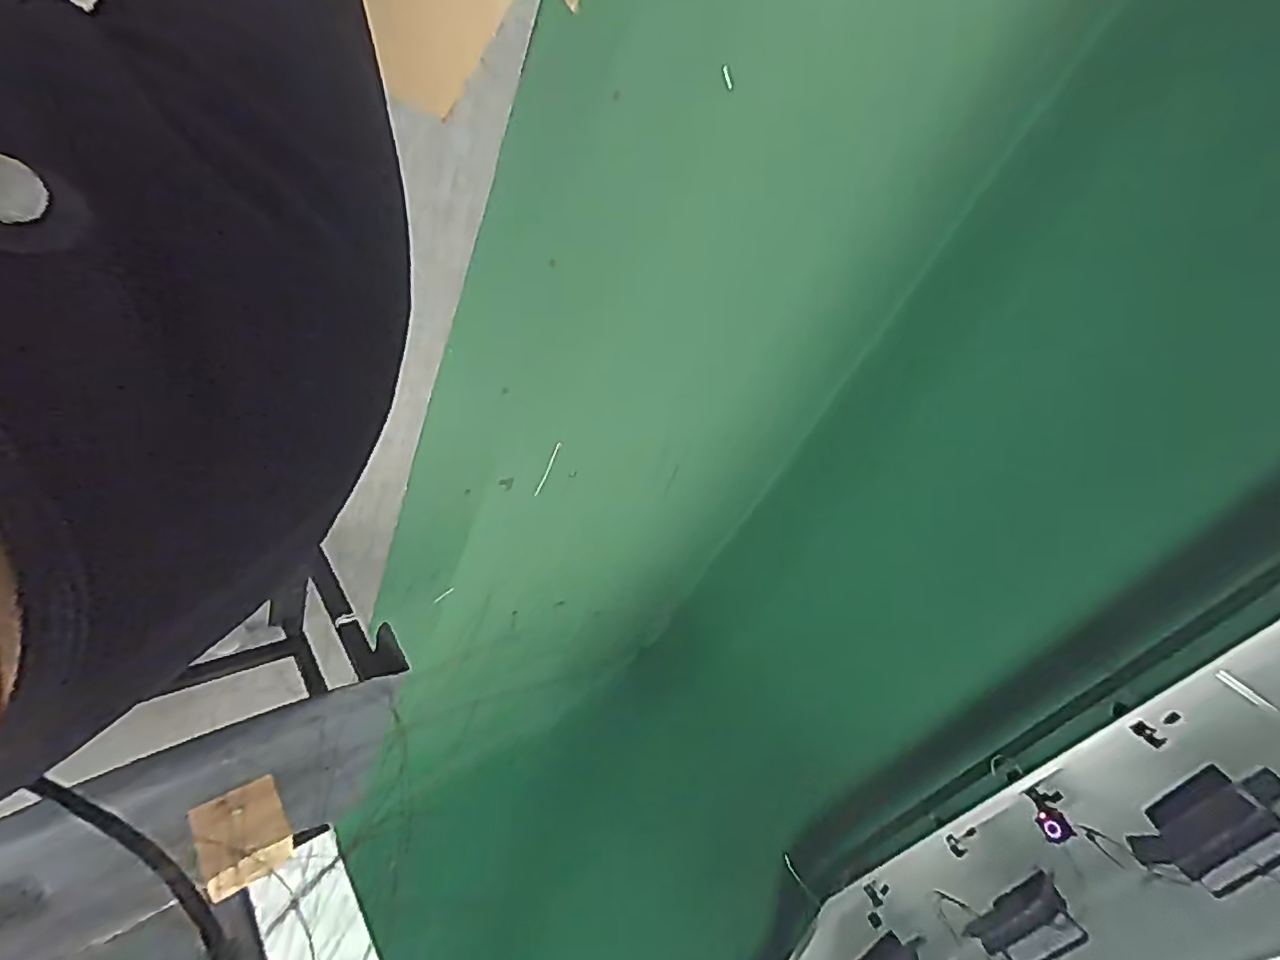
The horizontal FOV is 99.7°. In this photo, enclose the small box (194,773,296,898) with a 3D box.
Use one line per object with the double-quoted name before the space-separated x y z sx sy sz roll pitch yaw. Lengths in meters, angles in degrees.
"small box" -0.959 0.857 1.317 0.168 0.176 0.179 -15 141 -43
